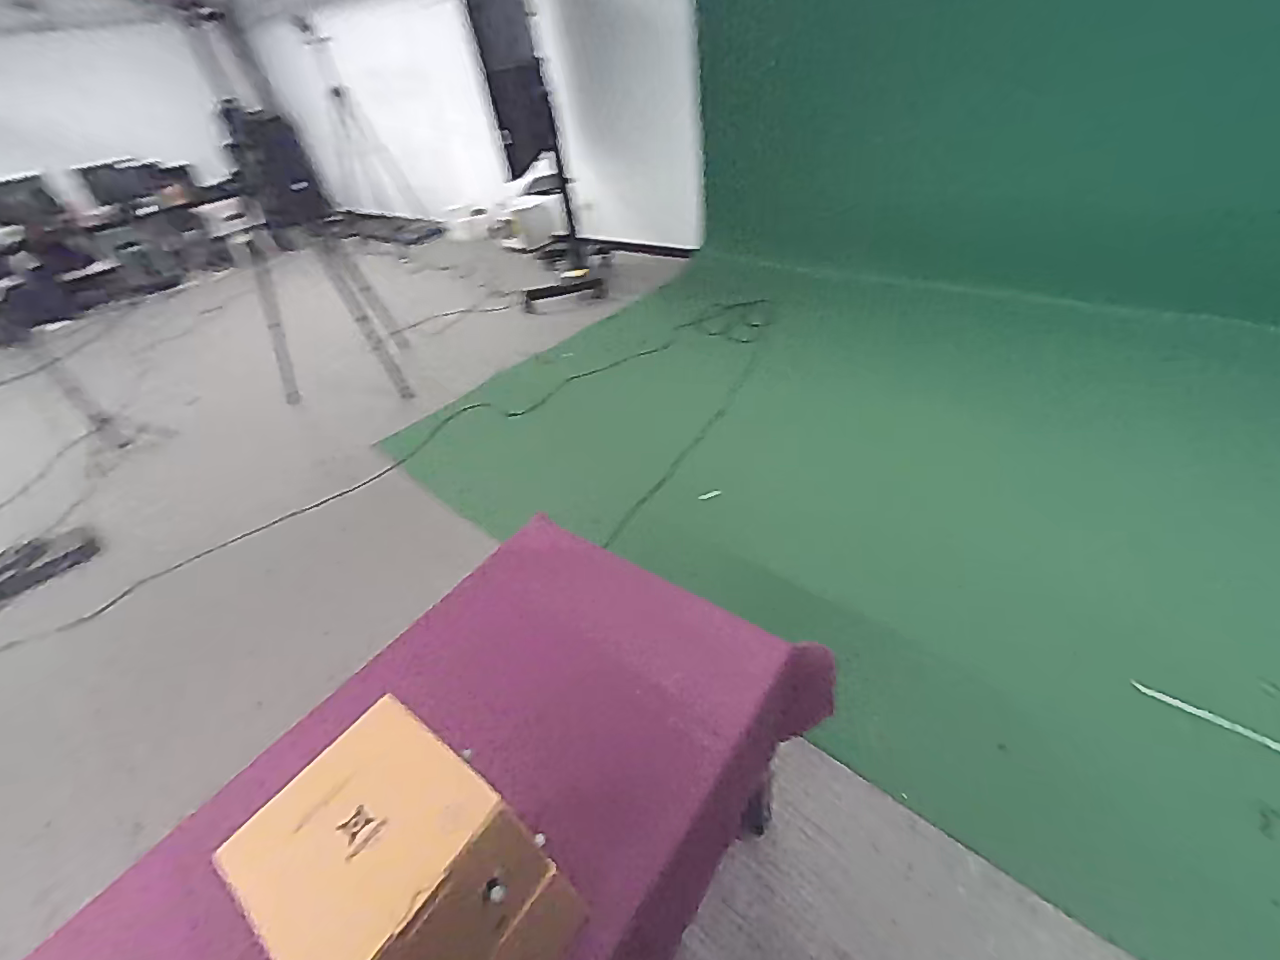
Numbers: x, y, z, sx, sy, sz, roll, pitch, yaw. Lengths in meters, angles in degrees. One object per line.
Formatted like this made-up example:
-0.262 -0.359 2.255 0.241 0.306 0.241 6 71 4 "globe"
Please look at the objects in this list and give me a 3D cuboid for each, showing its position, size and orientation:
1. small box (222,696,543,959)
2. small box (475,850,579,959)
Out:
-0.213 0.342 0.488 0.179 0.176 0.168 20 47 32 "small box"
-0.189 0.469 0.588 0.168 0.176 0.179 24 50 33 "small box"
